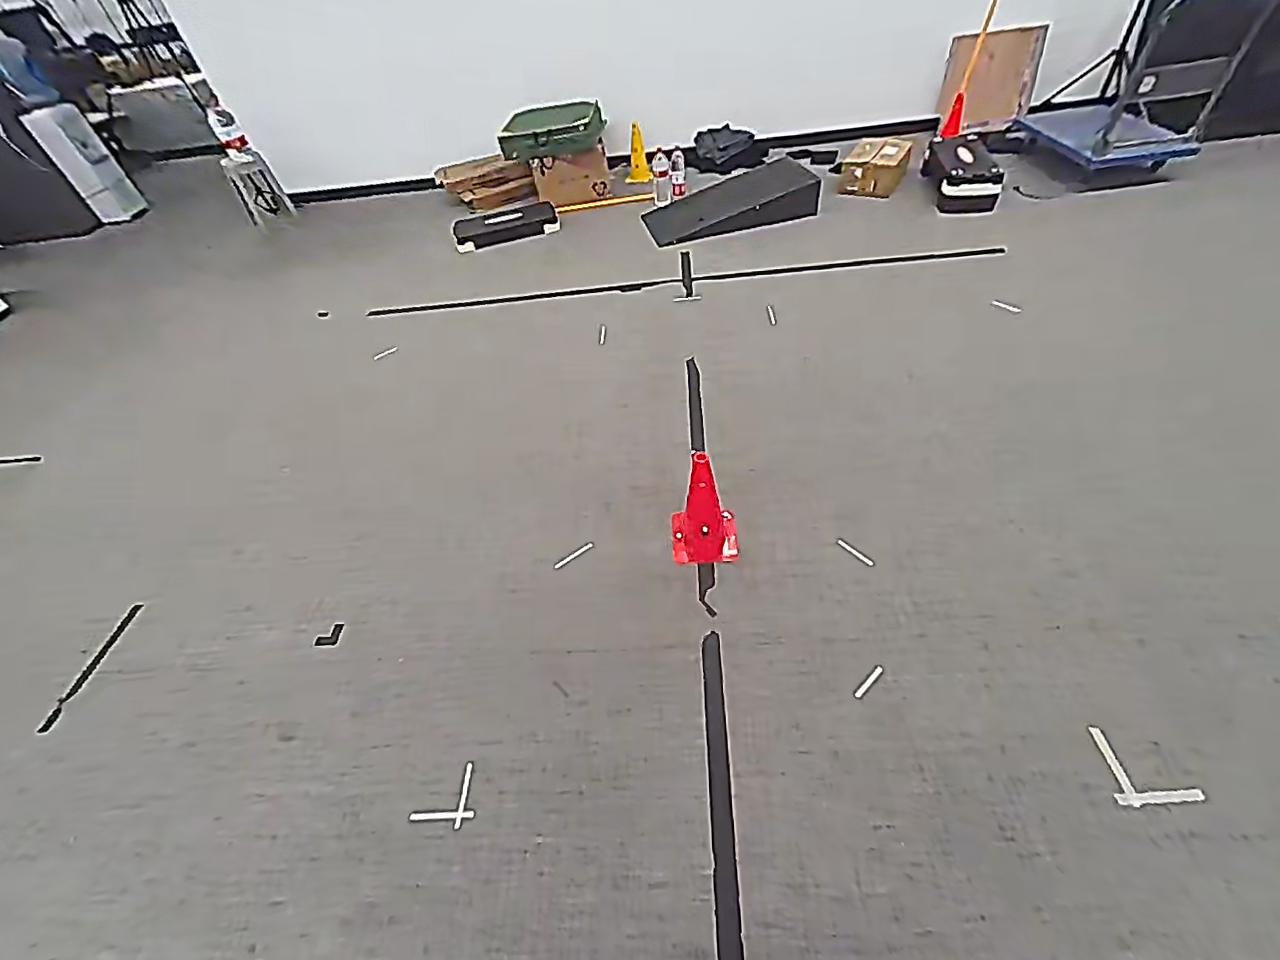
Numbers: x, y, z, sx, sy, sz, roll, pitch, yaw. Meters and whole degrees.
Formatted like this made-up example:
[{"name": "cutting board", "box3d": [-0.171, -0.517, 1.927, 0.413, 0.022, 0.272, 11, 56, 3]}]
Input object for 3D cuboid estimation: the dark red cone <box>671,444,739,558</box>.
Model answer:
[{"name": "dark red cone", "box3d": [0.178, 0.047, 1.564, 0.201, 0.394, 0.202, -5, 47, 6]}]
